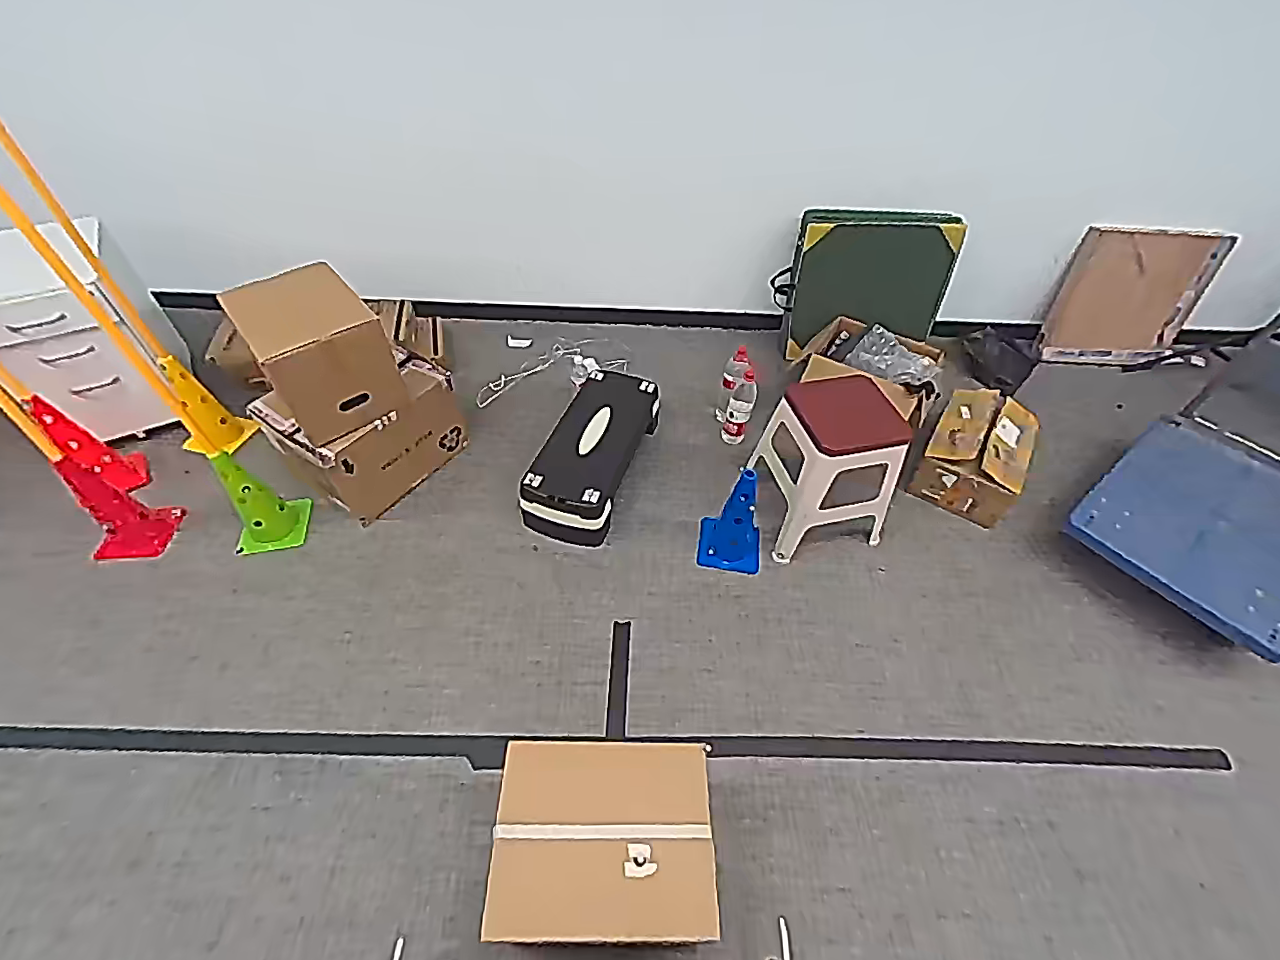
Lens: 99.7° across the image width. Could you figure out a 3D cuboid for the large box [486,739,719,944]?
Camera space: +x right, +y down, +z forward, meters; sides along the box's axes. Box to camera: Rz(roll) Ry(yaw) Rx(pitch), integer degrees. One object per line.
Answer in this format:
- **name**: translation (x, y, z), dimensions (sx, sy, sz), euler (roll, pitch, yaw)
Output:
- **large box**: translation (-0.073, 0.749, 1.118), dimensions (0.408, 0.320, 0.320), euler (2, 49, -3)
